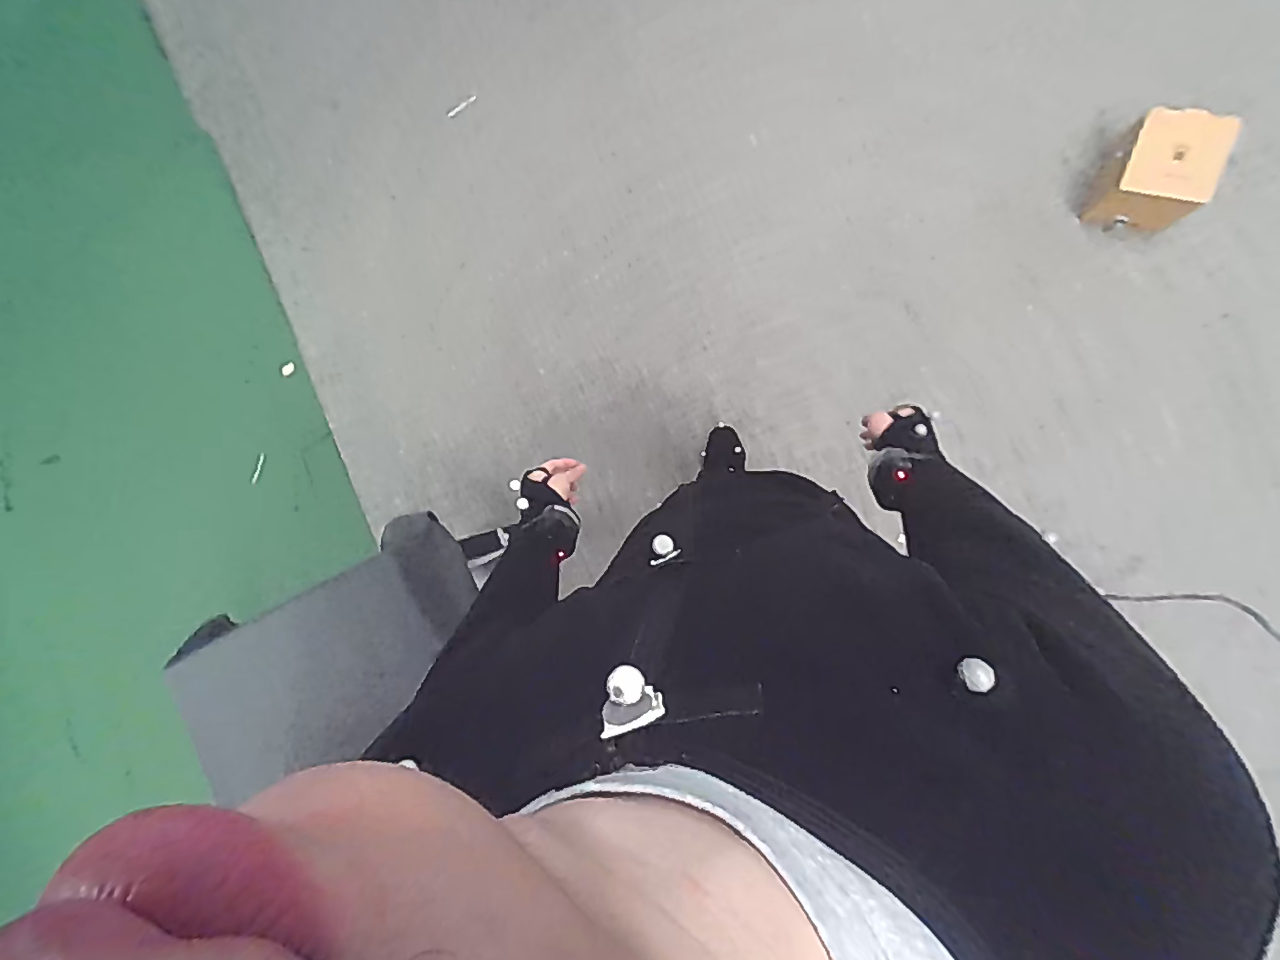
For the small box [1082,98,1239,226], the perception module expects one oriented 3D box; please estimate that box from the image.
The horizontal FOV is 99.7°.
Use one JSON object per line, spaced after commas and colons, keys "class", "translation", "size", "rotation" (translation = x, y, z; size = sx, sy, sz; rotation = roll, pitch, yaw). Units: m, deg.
{"class": "small box", "translation": [1.131, -0.694, 1.194], "size": [0.168, 0.176, 0.179], "rotation": [18, 98, 14]}
